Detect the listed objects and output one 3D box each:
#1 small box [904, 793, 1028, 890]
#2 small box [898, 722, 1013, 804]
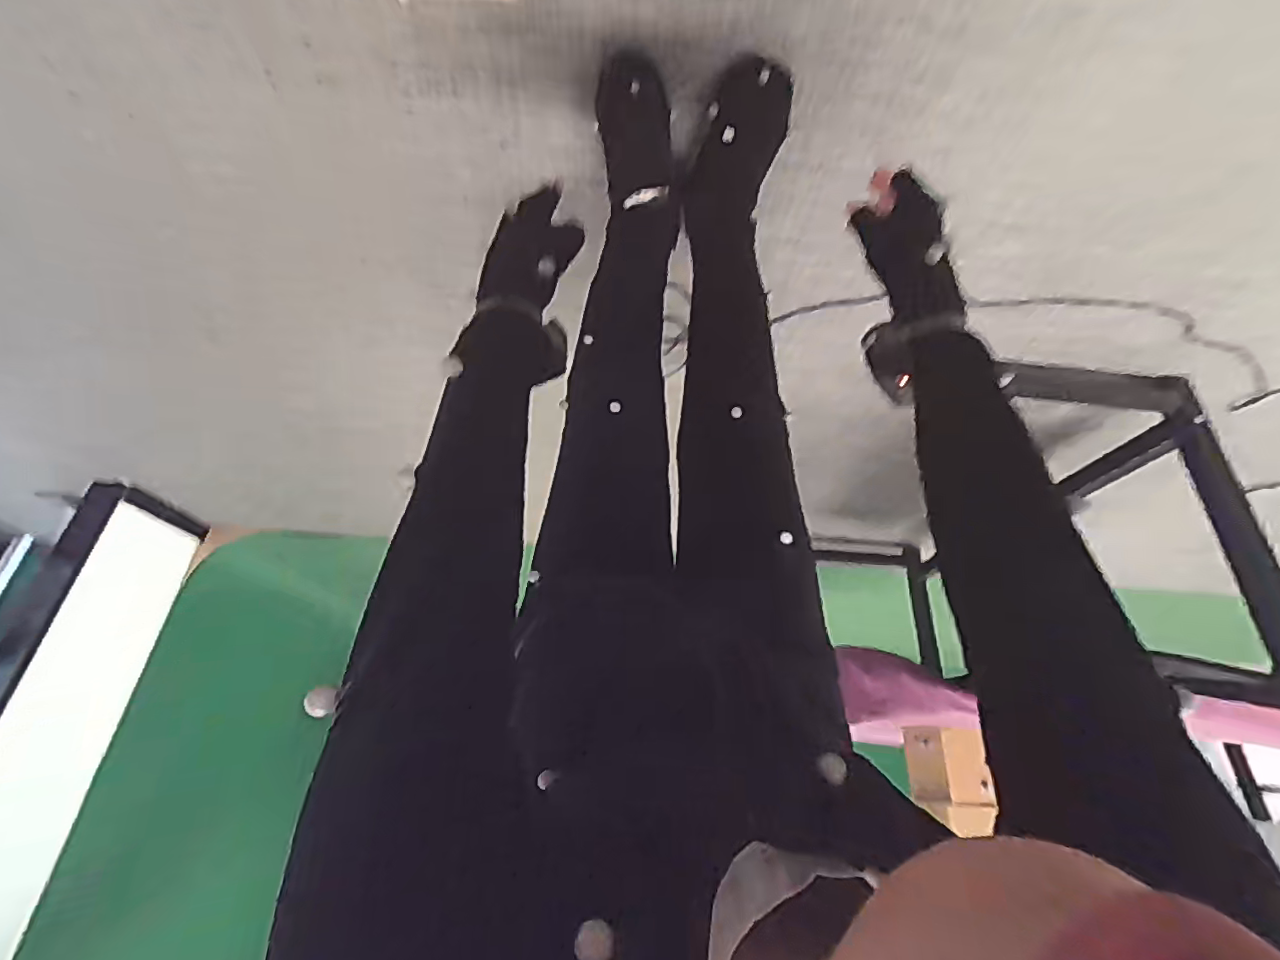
[{"bbox_3d":[0.757,0.847,1.277,0.179,0.176,0.168,6,151,-4],"label":"small box"},{"bbox_3d":[0.782,0.706,1.359,0.179,0.176,0.168,7,152,-6],"label":"small box"}]
